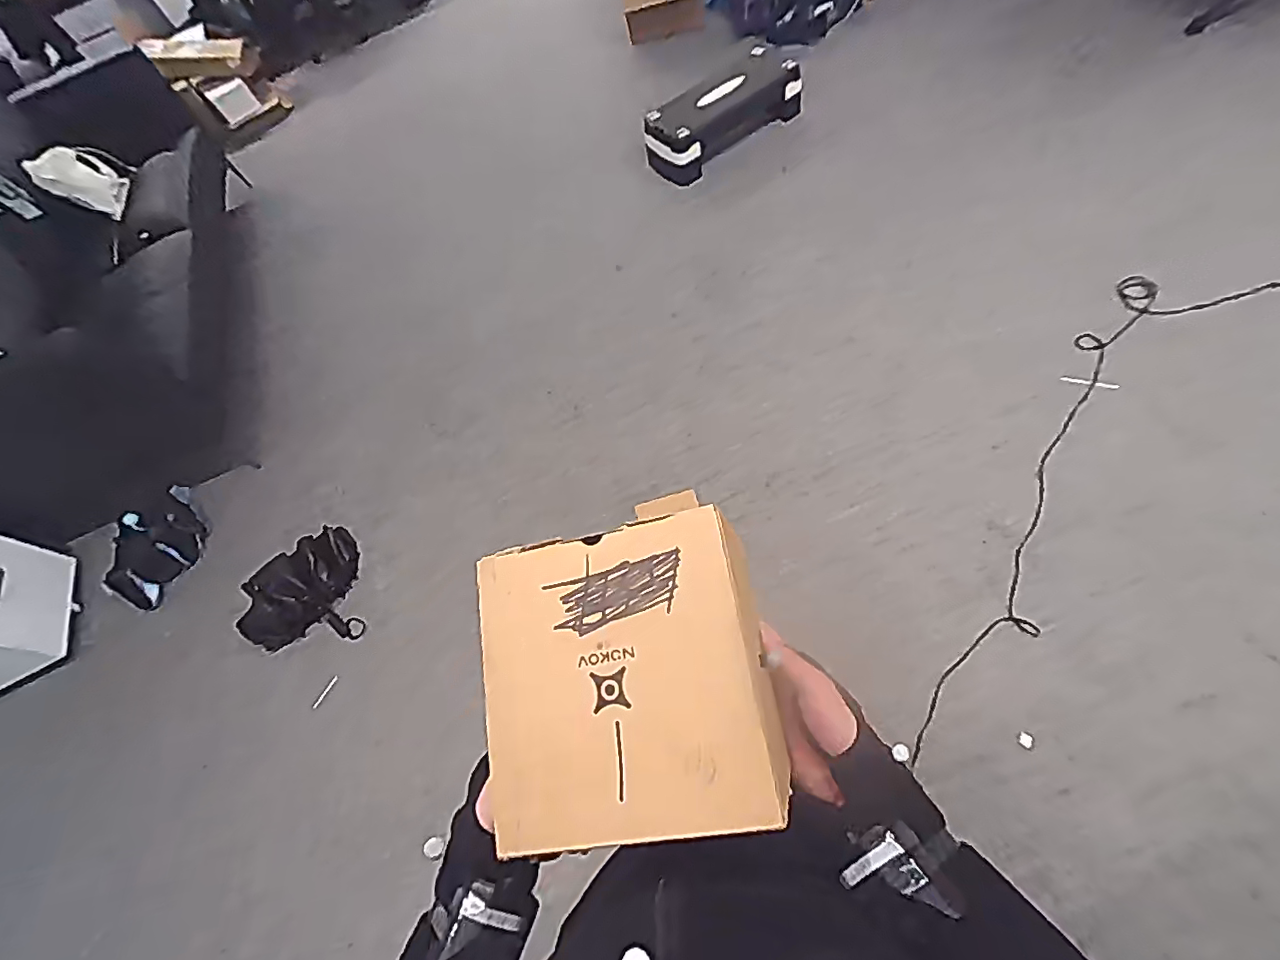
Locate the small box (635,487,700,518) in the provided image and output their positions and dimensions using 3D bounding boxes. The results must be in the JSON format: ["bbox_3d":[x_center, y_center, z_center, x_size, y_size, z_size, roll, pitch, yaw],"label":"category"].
[{"bbox_3d":[0.102,0.146,1.529,0.179,0.176,0.168,-17,62,4],"label":"small box"}]

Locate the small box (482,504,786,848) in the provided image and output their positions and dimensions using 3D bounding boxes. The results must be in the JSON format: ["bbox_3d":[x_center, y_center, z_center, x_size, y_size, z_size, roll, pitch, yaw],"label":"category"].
[{"bbox_3d":[0.004,0.134,0.392,0.168,0.176,0.179,-14,71,13],"label":"small box"}]
